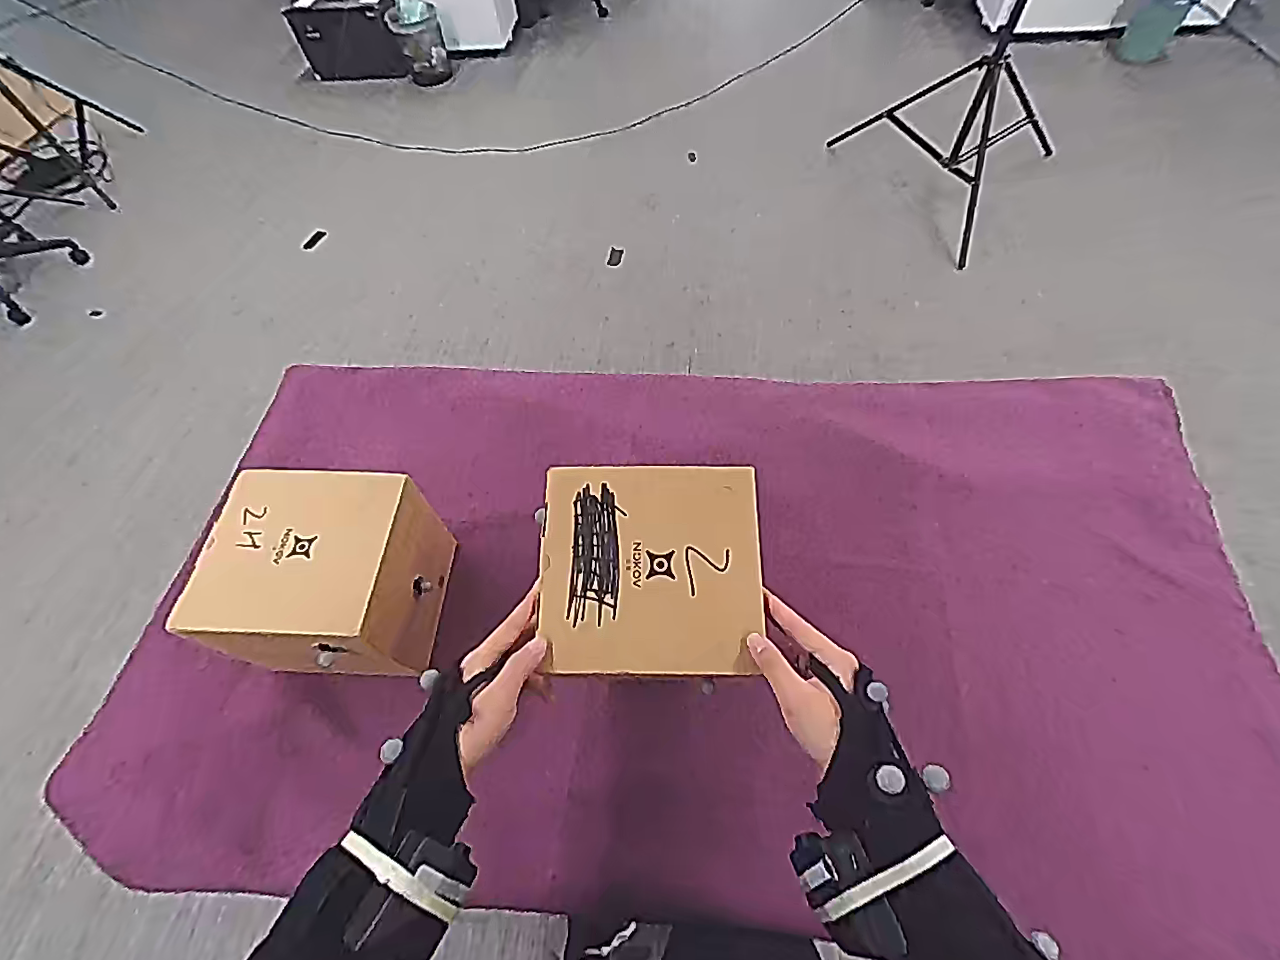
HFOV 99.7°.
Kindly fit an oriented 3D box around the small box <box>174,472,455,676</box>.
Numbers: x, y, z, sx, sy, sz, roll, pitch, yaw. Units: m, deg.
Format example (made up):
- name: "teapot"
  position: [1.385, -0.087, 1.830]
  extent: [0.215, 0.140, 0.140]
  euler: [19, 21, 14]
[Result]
- name: "small box"
  position: [-0.318, 0.107, 0.579]
  extent: [0.179, 0.176, 0.168]
  euler: [2, 58, 2]
